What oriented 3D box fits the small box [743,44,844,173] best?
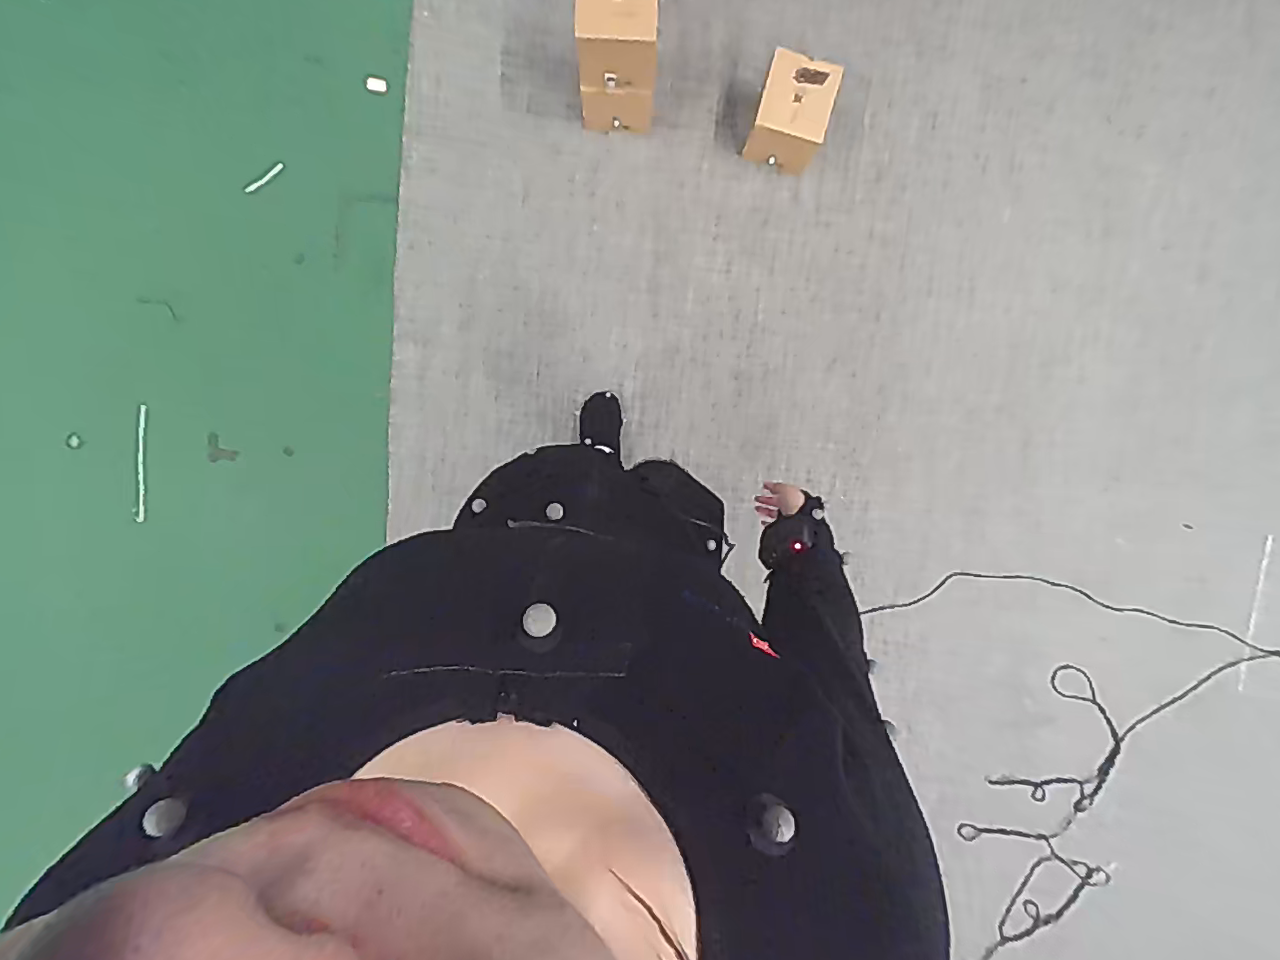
[{"bbox_3d":[0.362,-0.890,1.313,0.168,0.176,0.179,15,96,-3],"label":"small box"}]

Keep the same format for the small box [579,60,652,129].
[{"bbox_3d":[-0.056,-0.978,1.289,0.168,0.176,0.179,1,96,-2],"label":"small box"}]

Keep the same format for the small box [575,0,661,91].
[{"bbox_3d":[-0.042,-0.964,1.130,0.168,0.176,0.179,3,94,0],"label":"small box"}]
